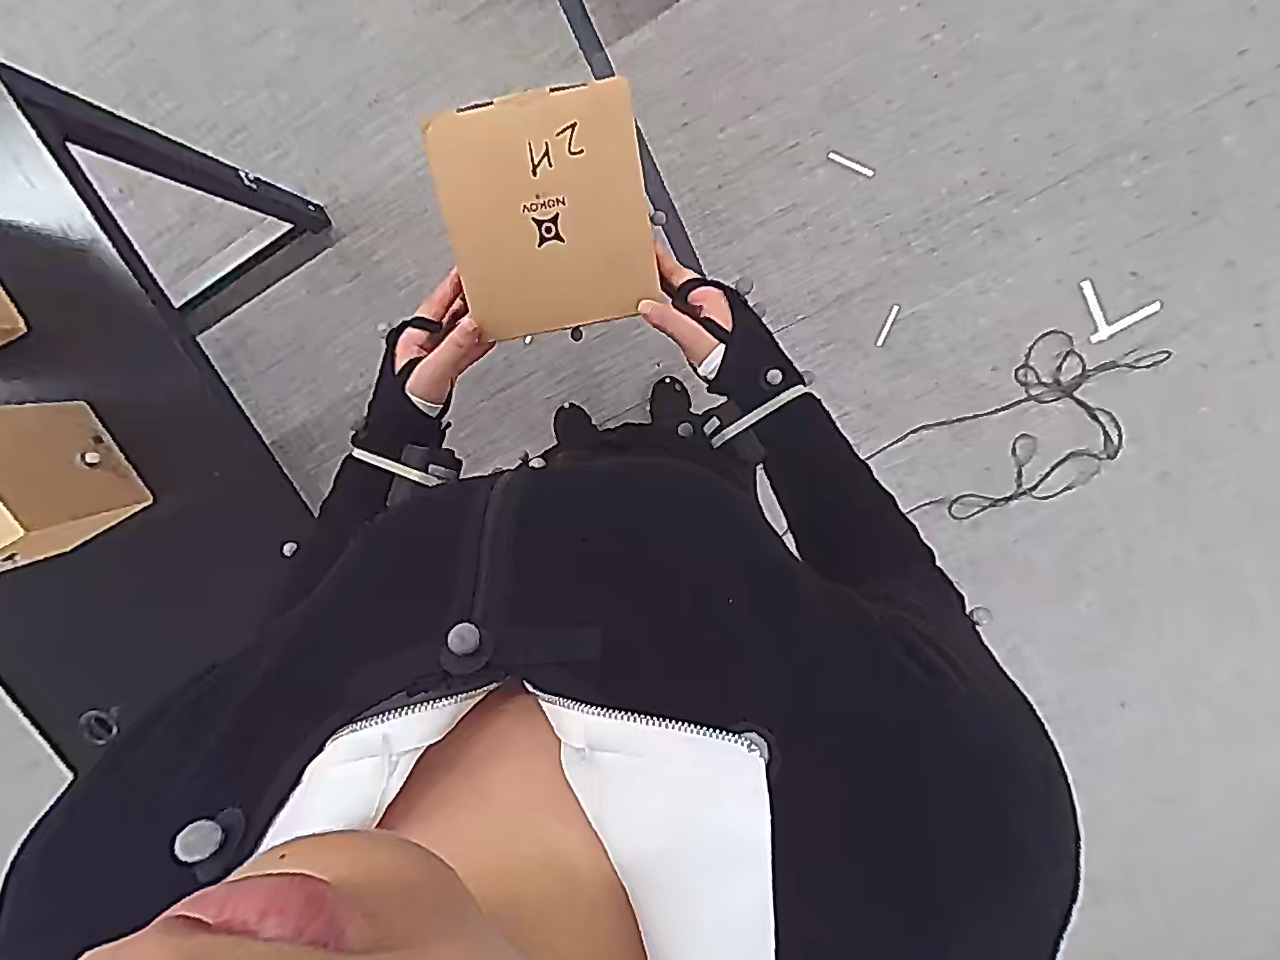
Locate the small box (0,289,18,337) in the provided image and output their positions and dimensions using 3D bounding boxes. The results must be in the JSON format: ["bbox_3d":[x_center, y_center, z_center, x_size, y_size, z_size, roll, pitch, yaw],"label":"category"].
[{"bbox_3d":[-0.952,-0.236,0.658,0.168,0.176,0.179,-24,101,8],"label":"small box"}]

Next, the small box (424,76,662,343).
[{"bbox_3d":[-0.073,-0.237,0.514,0.168,0.176,0.179,-10,107,3],"label":"small box"}]

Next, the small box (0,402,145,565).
[{"bbox_3d":[-0.825,0.010,0.706,0.179,0.176,0.168,-27,100,8],"label":"small box"}]
